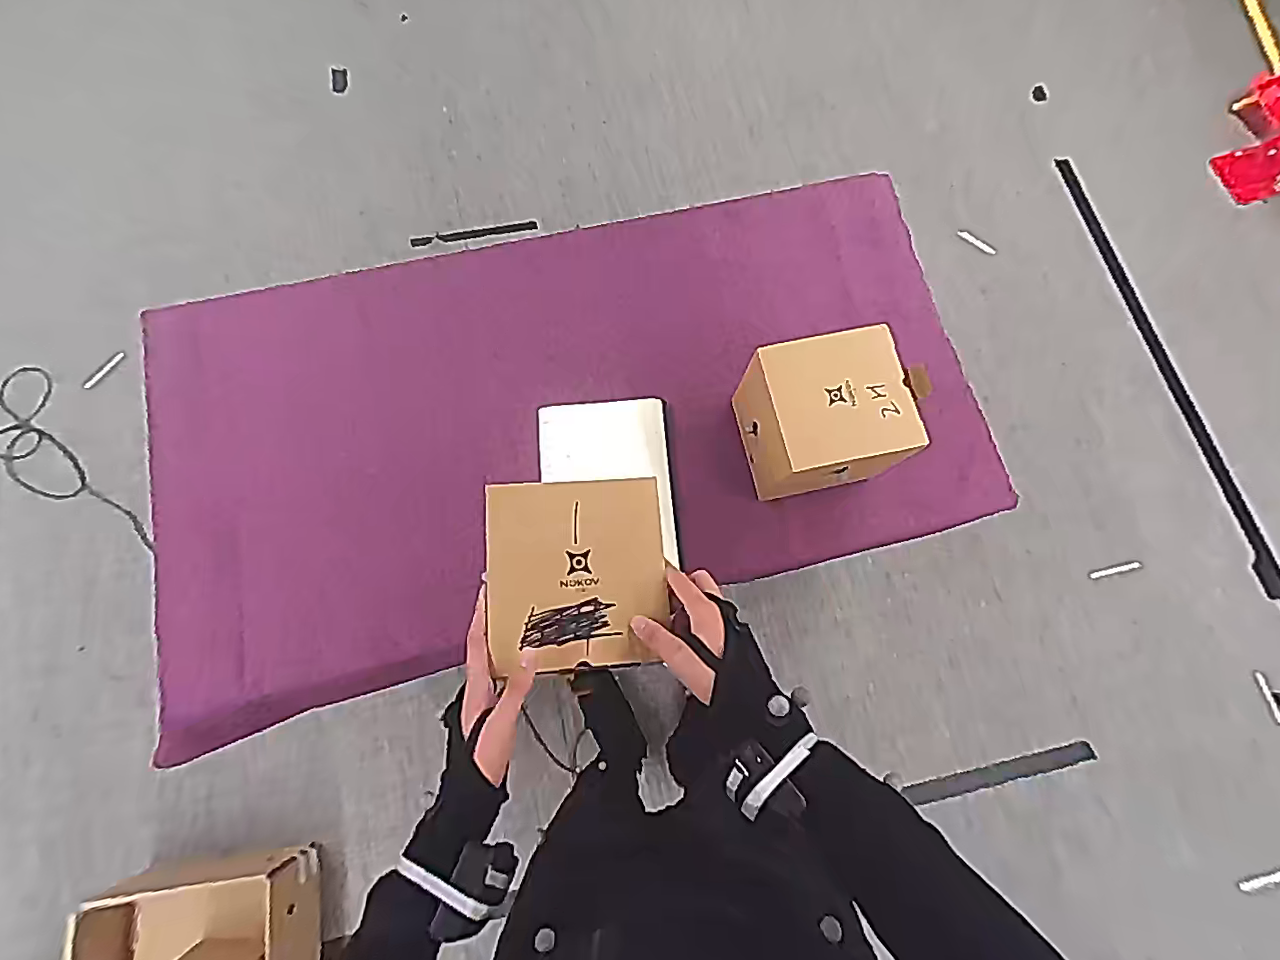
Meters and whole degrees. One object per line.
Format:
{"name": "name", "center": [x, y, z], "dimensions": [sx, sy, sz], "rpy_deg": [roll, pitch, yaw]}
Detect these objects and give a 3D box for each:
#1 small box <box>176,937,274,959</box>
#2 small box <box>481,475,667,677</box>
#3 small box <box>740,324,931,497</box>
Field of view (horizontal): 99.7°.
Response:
{"name": "small box", "center": [-0.896, 1.080, 1.111], "dimensions": [0.179, 0.176, 0.168], "rpy_deg": [1, 77, -2]}
{"name": "small box", "center": [-0.069, 0.101, 0.567], "dimensions": [0.168, 0.176, 0.179], "rpy_deg": [-2, 75, -8]}
{"name": "small box", "center": [0.243, -0.082, 0.727], "dimensions": [0.179, 0.176, 0.168], "rpy_deg": [-11, 77, -4]}
